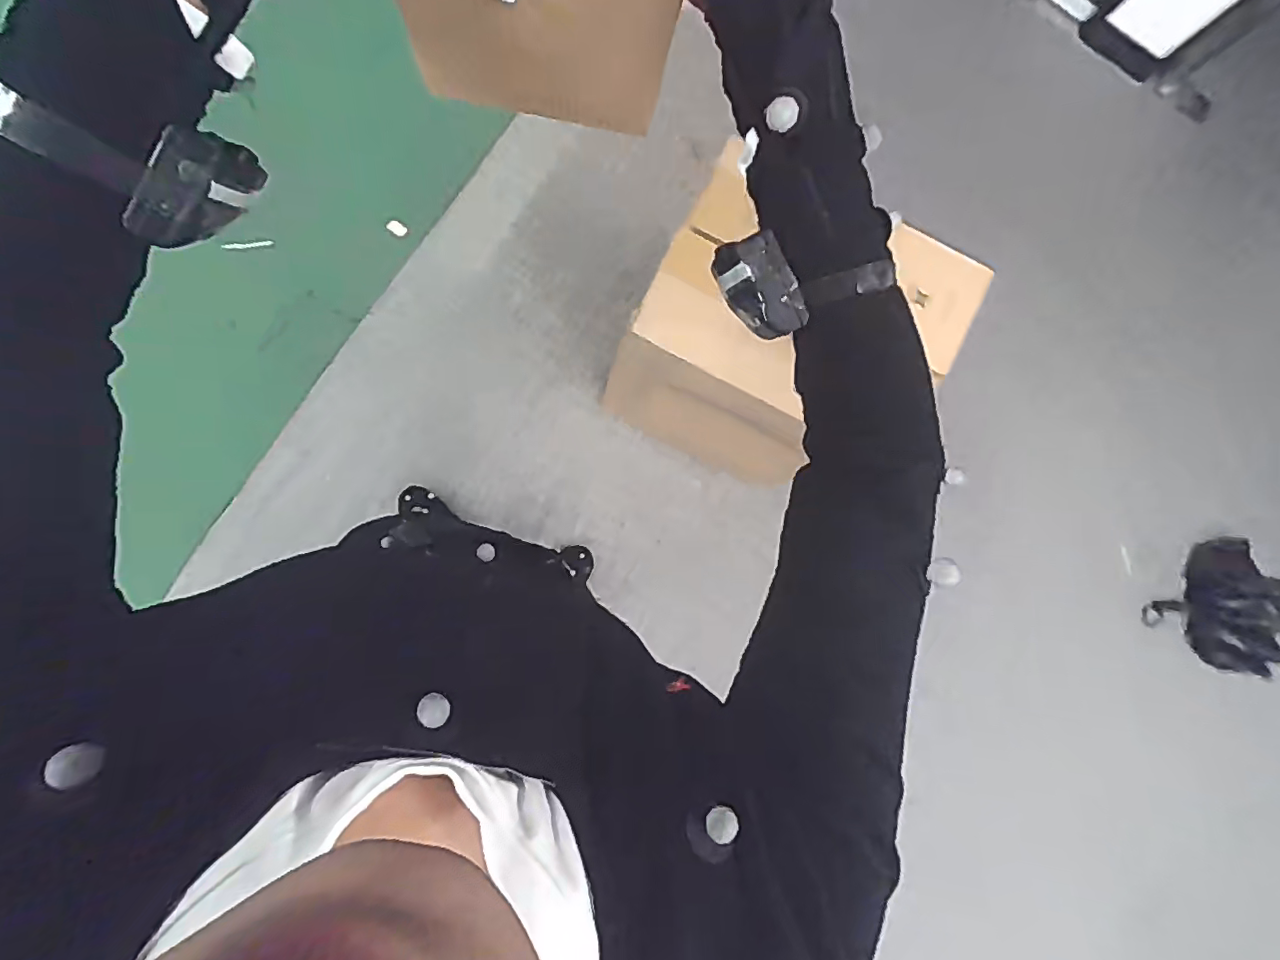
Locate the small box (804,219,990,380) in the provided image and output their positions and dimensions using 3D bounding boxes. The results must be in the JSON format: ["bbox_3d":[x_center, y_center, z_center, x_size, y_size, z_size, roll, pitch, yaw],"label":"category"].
[{"bbox_3d":[0.390,-0.269,0.857,0.179,0.176,0.168,24,92,-7],"label":"small box"}]

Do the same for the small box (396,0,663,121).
[{"bbox_3d":[-0.066,-0.372,0.349,0.179,0.176,0.168,6,91,-9],"label":"small box"}]
